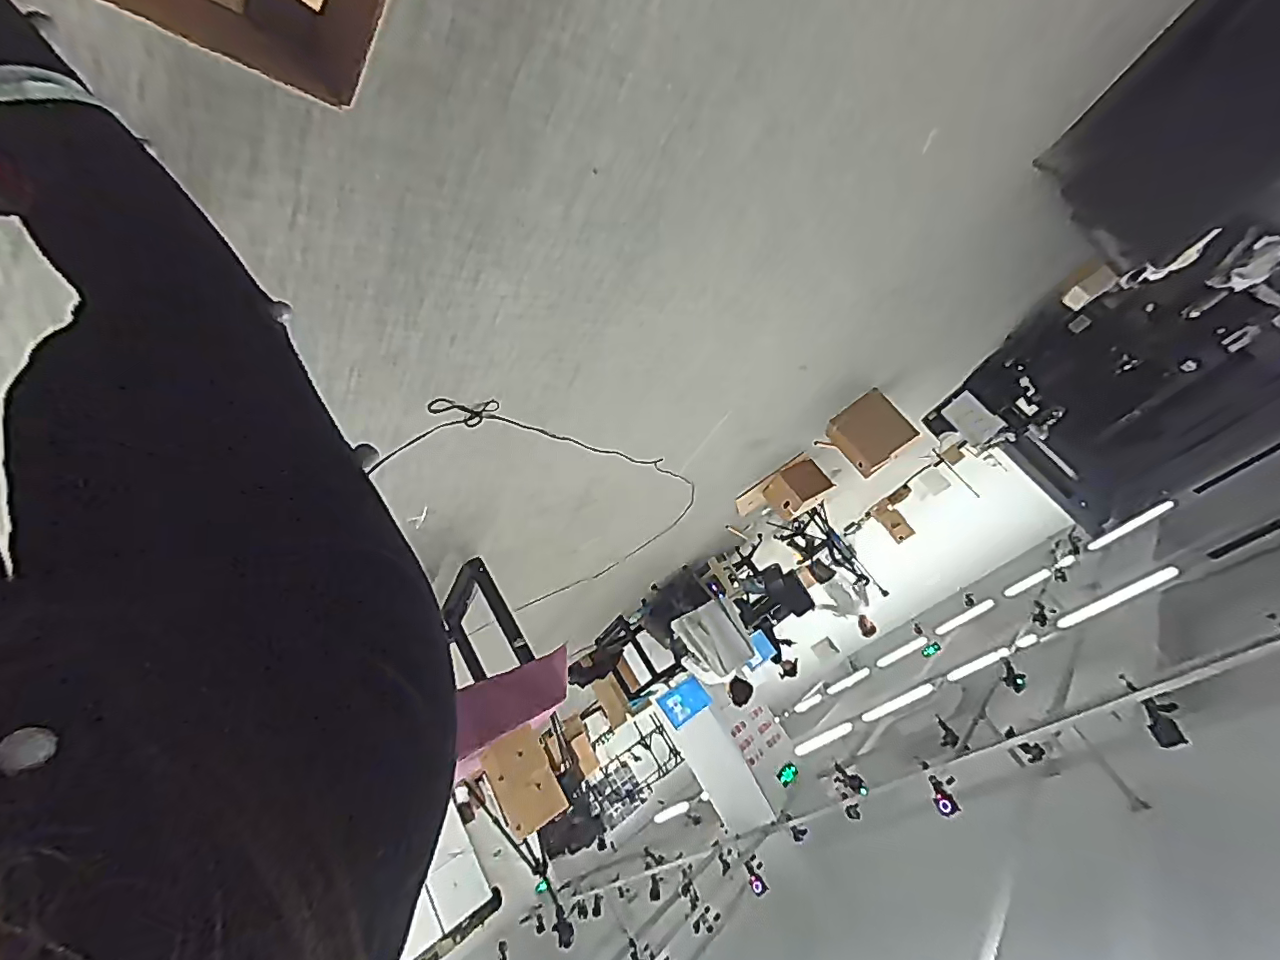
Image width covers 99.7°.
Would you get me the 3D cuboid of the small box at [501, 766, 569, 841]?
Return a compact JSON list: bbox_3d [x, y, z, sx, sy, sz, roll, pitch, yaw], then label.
[{"bbox_3d":[-0.398,1.207,2.025,0.168,0.176,0.179,-15,151,-43],"label":"small box"}]
